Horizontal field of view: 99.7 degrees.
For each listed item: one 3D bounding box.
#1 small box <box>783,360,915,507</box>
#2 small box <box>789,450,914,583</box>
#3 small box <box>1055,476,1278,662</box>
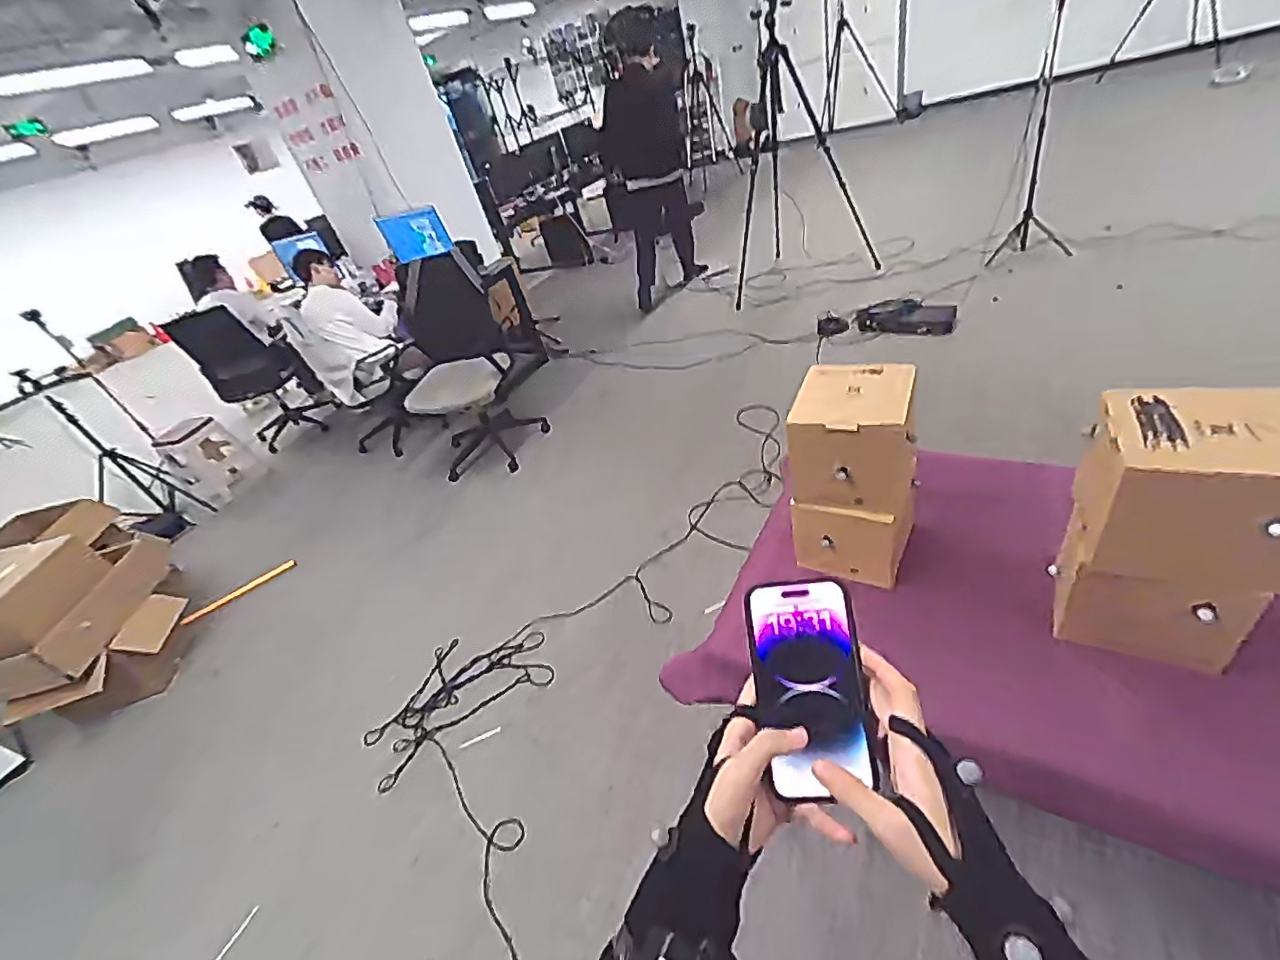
[{"bbox_3d":[0.343,-0.076,0.874,0.168,0.176,0.179,6,43,29],"label":"small box"},{"bbox_3d":[0.383,0.056,0.964,0.168,0.176,0.179,10,44,34],"label":"small box"},{"bbox_3d":[0.694,0.119,0.737,0.179,0.176,0.168,9,44,33],"label":"small box"}]
